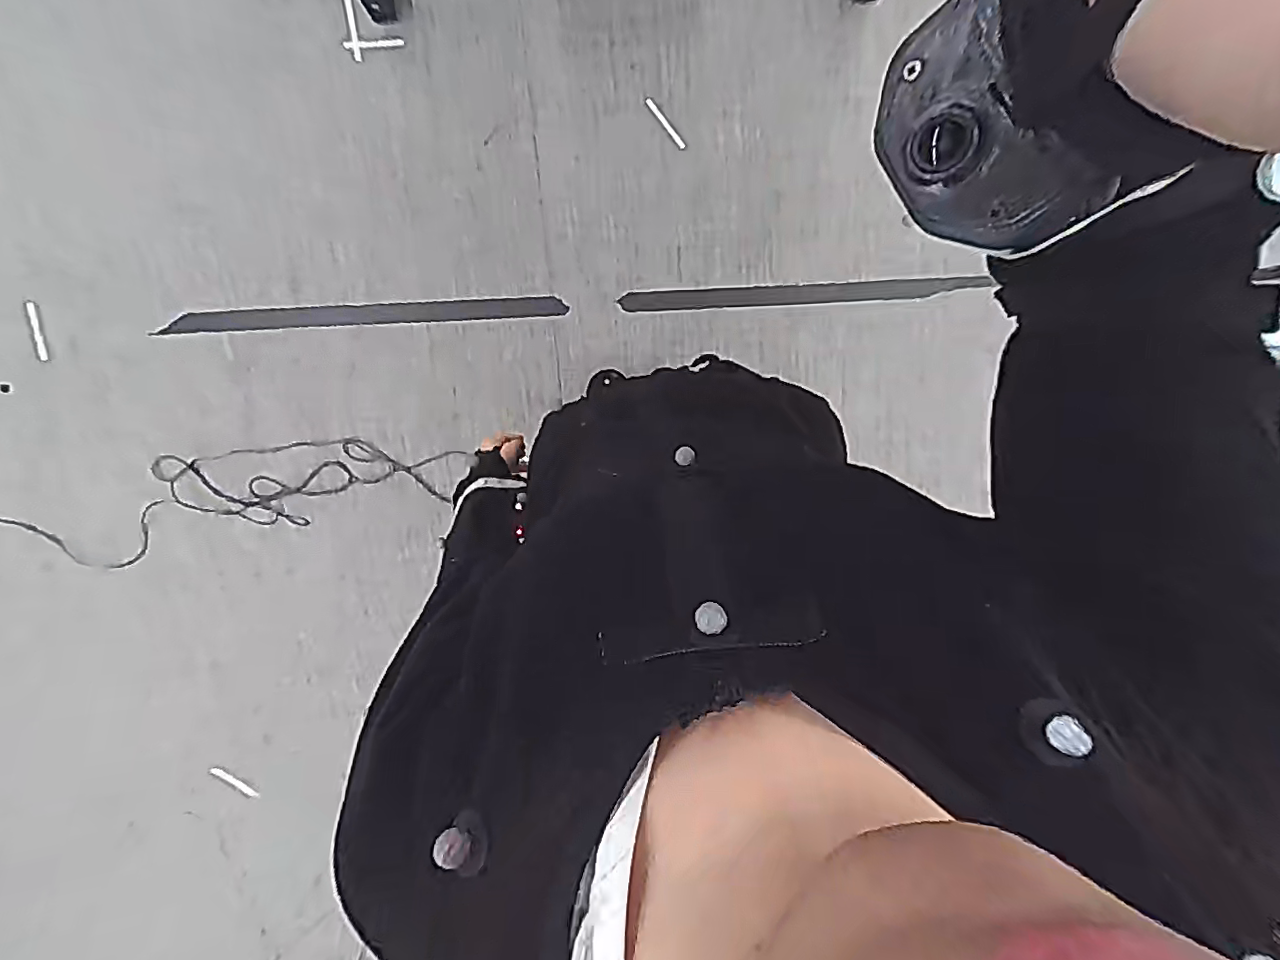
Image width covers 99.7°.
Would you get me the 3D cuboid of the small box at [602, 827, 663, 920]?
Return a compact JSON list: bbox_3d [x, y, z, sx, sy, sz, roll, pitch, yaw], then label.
[{"bbox_3d":[-0.026,1.201,1.660,0.179,0.176,0.168,1,101,-4],"label":"small box"}]
